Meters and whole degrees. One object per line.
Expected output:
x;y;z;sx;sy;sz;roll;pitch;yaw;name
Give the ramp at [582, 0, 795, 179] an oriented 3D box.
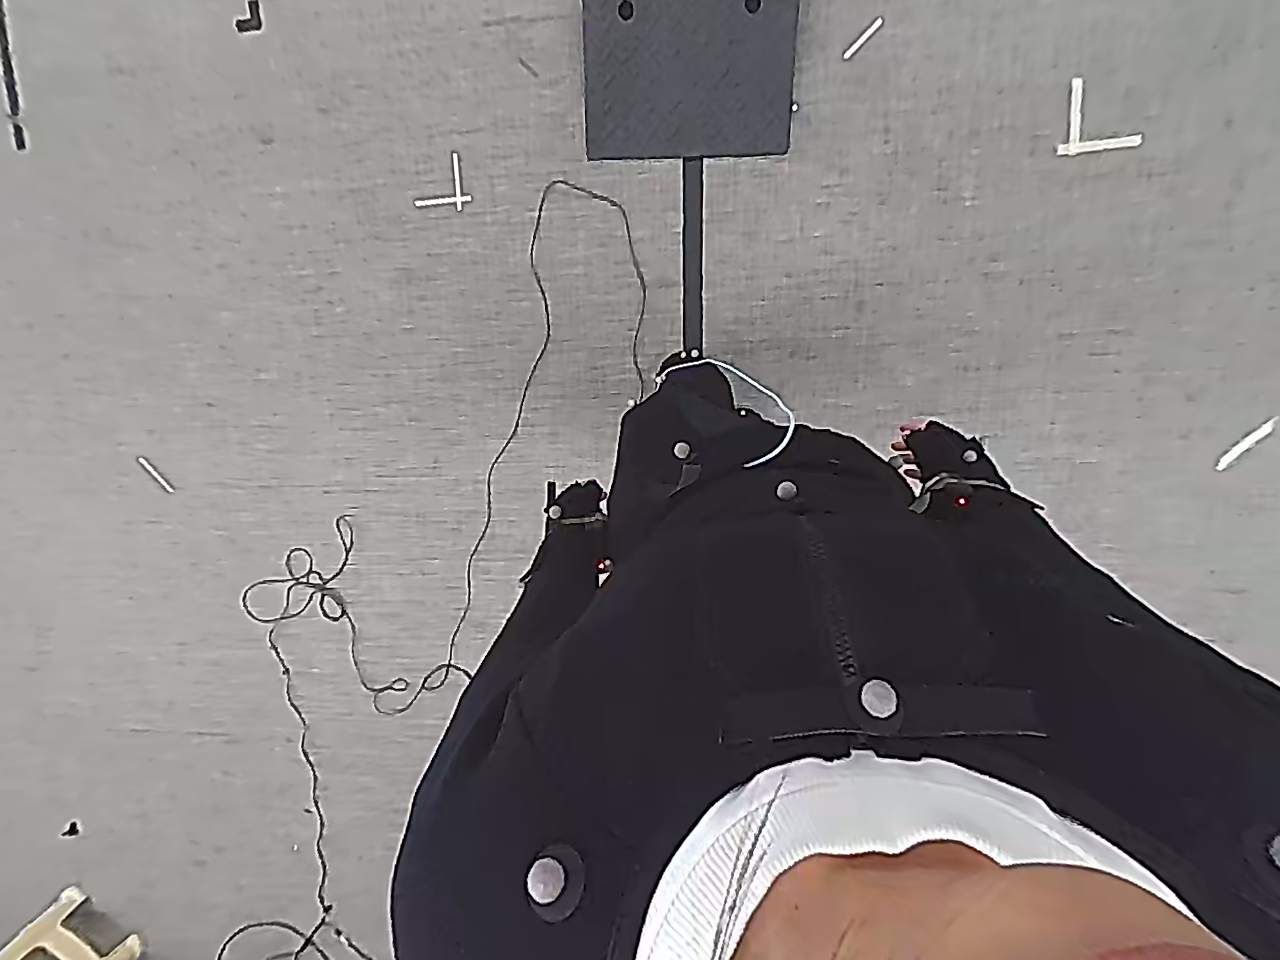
0.104;-1.239;1.195;0.509;0.206;0.991;-1;98;6;ramp
